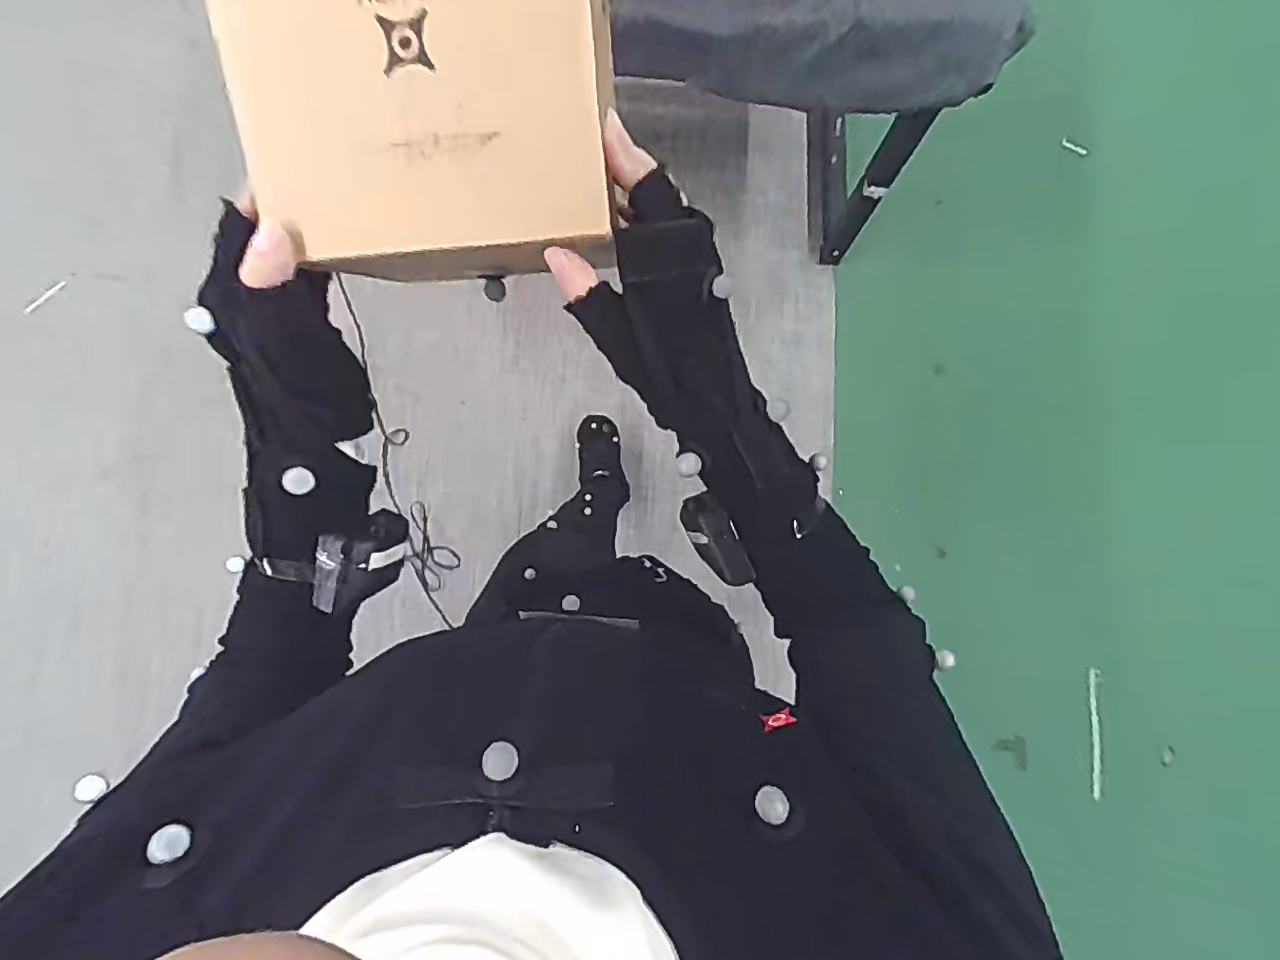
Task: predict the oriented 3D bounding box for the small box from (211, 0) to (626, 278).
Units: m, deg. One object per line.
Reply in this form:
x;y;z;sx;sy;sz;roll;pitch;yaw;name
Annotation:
-0.099;-0.219;0.309;0.168;0.176;0.179;-3;107;4;small box
